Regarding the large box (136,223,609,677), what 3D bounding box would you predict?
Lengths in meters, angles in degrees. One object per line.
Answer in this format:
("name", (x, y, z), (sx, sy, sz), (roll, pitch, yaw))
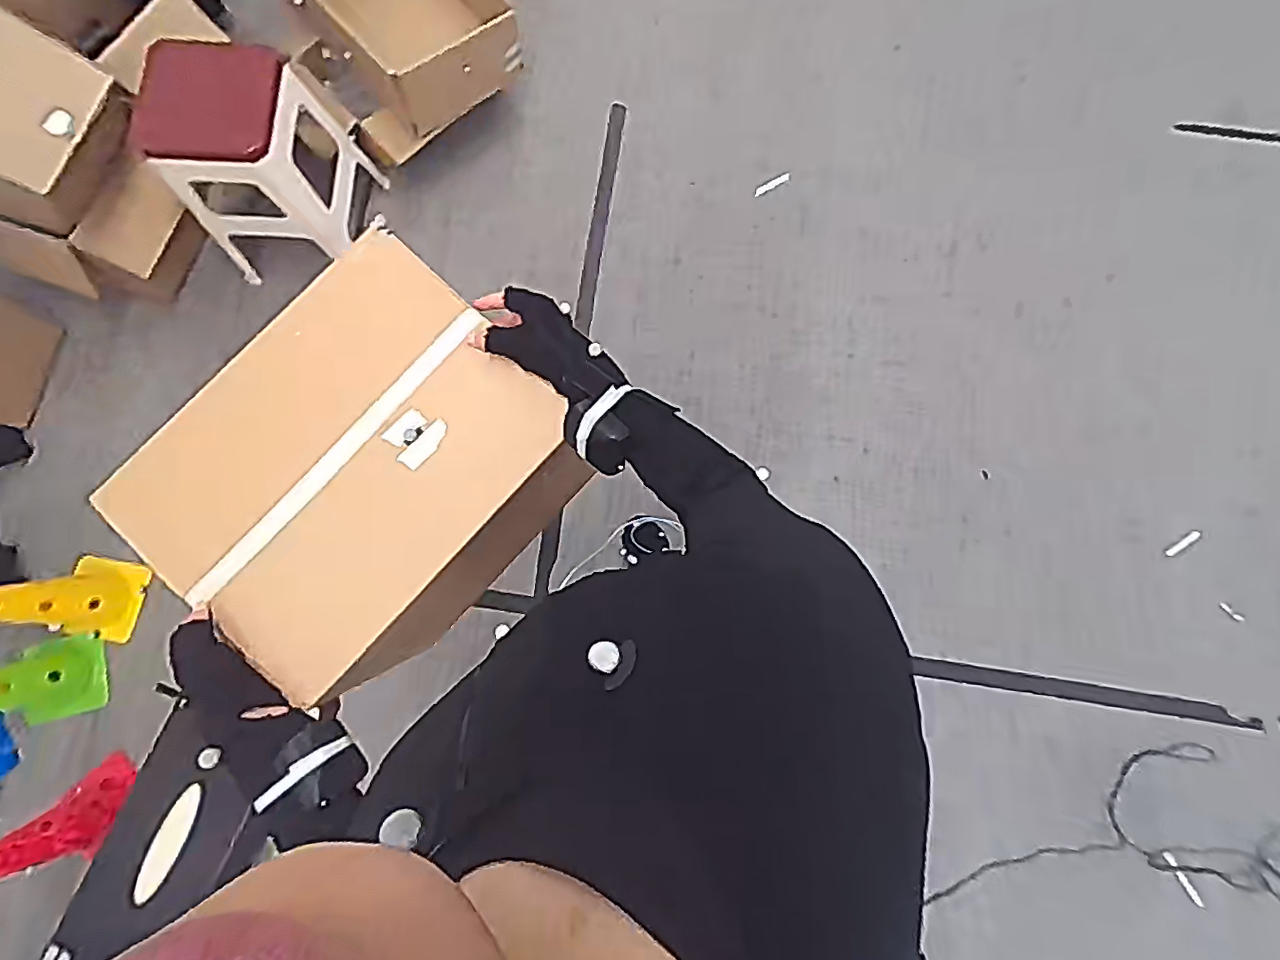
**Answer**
("large box", (-0.291, -0.024, 0.720), (0.320, 0.320, 0.408), (44, 85, 4))
